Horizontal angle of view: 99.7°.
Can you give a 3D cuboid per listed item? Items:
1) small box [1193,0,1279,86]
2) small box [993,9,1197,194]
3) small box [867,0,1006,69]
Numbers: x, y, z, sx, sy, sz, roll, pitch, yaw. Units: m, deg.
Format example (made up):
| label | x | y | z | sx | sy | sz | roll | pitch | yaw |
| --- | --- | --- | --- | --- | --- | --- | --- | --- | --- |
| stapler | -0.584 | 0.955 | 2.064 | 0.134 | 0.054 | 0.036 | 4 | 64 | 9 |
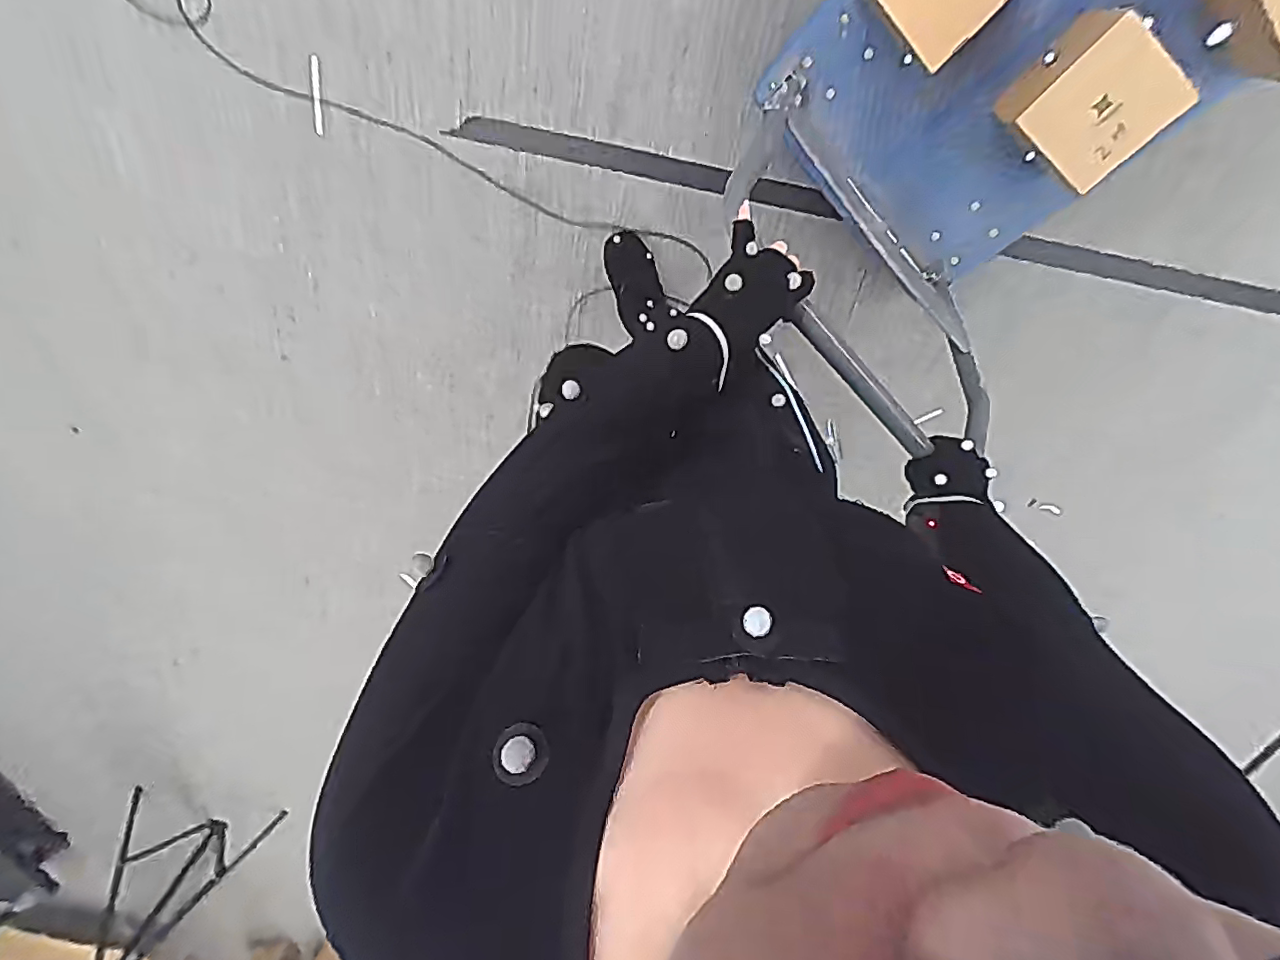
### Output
| label | x | y | z | sx | sy | sz | roll | pitch | yaw |
| --- | --- | --- | --- | --- | --- | --- | --- | --- | --- |
| small box | 0.933 | -0.688 | 0.739 | 0.168 | 0.176 | 0.179 | 42 | 129 | -18 |
| small box | 0.715 | -0.606 | 0.873 | 0.179 | 0.176 | 0.168 | 36 | 130 | -14 |
| small box | 0.454 | -0.769 | 0.818 | 0.179 | 0.176 | 0.168 | 38 | 129 | -18 |
